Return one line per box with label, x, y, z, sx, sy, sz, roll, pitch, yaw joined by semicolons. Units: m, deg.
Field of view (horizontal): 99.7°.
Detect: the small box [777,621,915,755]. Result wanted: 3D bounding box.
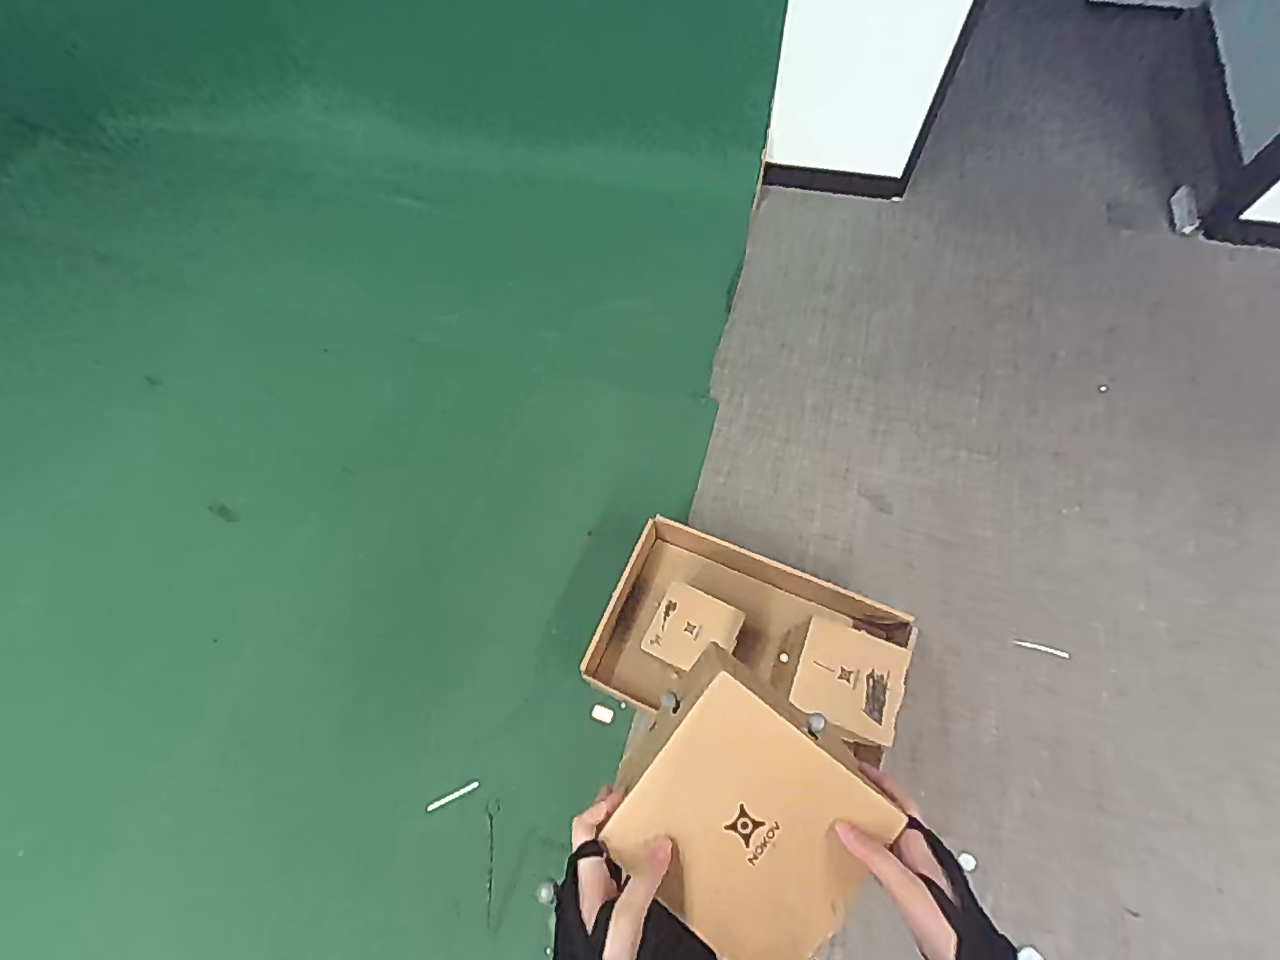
small box;0.366;0.377;0.987;0.179;0.176;0.168;19;69;13
